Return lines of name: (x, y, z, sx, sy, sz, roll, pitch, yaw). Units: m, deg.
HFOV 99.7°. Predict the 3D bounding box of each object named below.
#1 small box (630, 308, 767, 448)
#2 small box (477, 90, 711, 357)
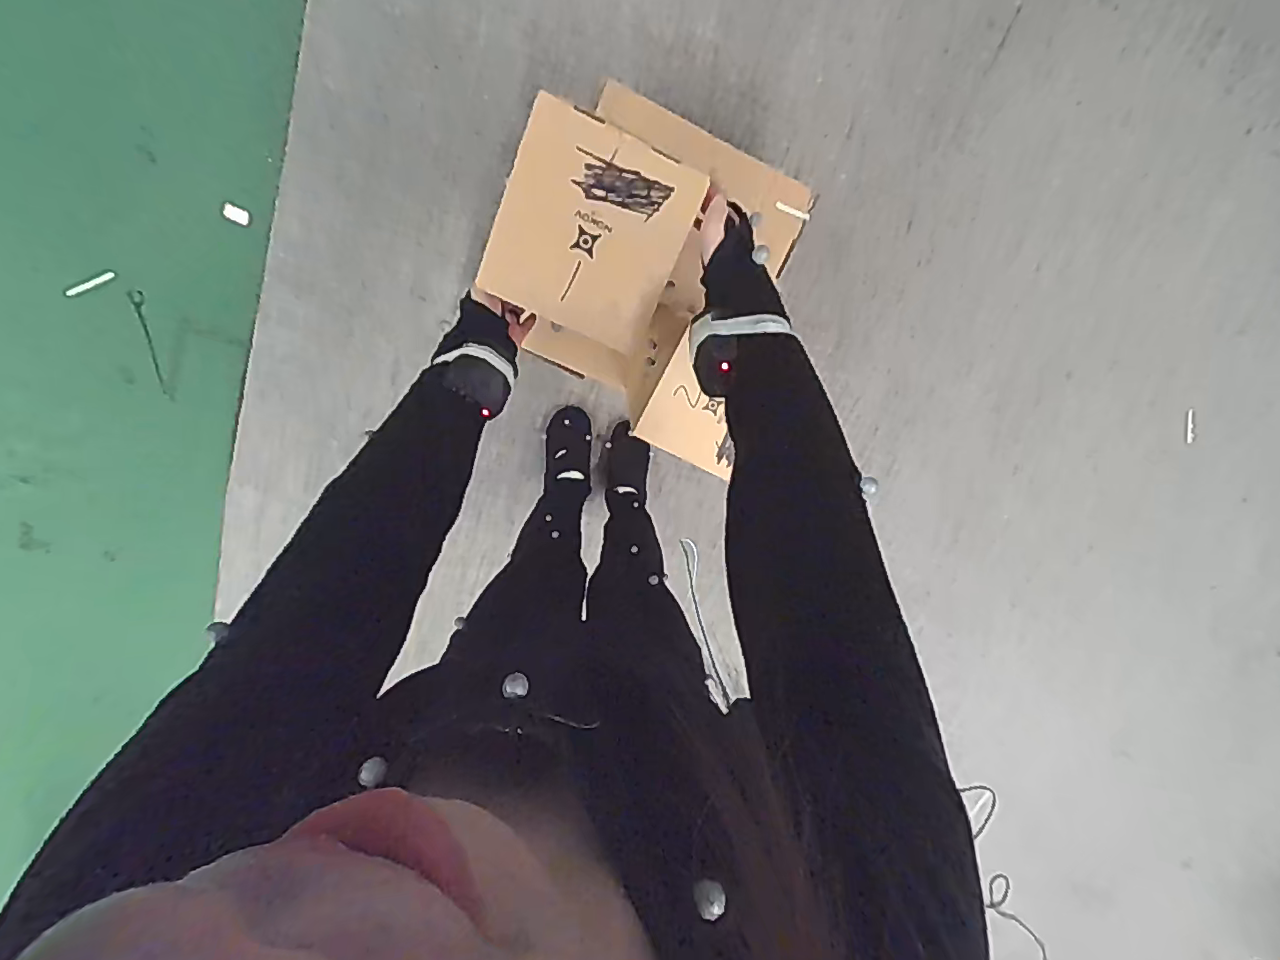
small box: (0.089, -0.182, 0.941, 0.168, 0.176, 0.179, 24, 104, -11)
small box: (-0.048, -0.250, 0.568, 0.168, 0.176, 0.179, 23, 106, -9)
